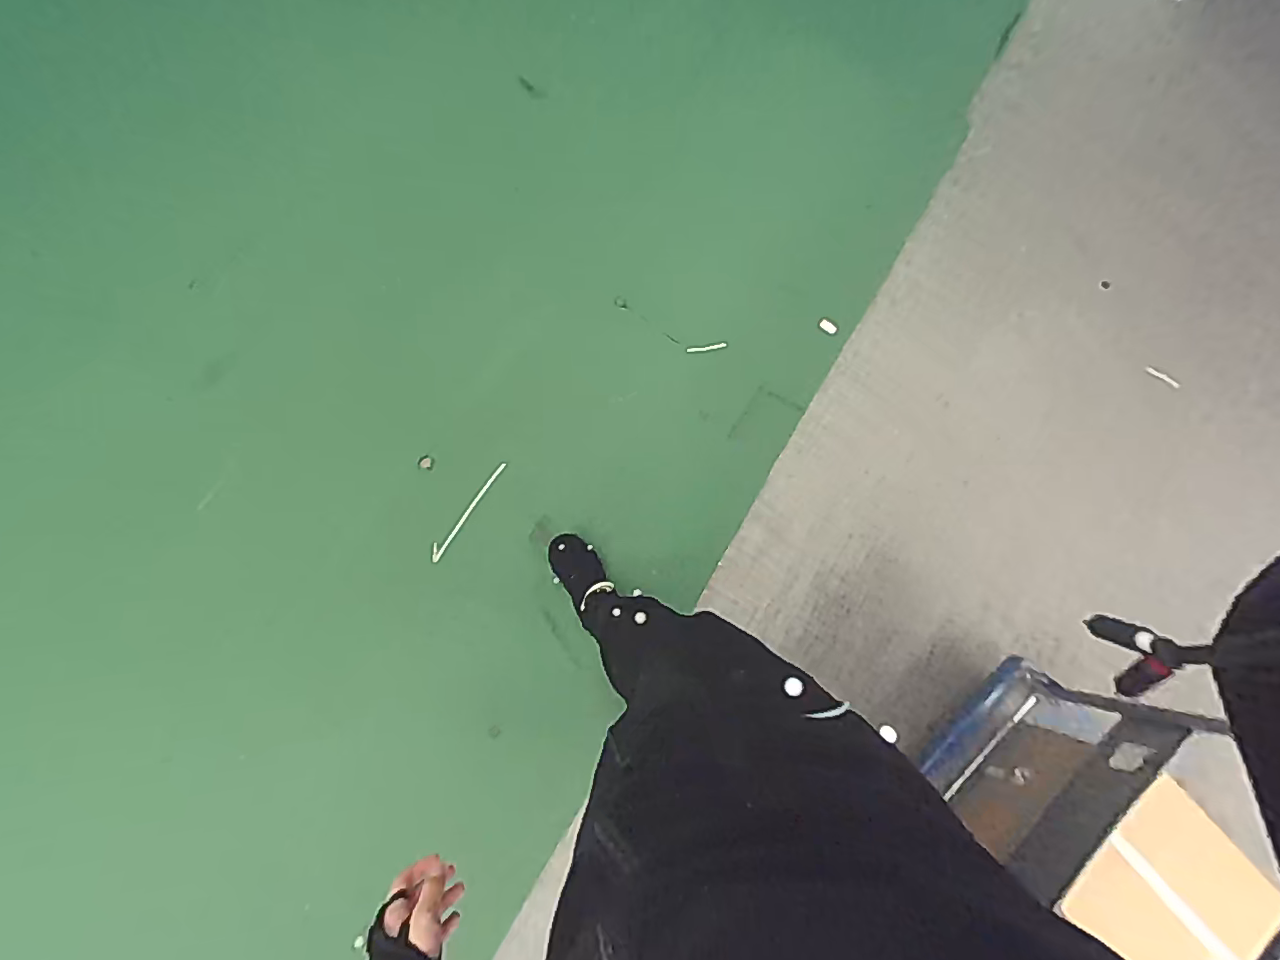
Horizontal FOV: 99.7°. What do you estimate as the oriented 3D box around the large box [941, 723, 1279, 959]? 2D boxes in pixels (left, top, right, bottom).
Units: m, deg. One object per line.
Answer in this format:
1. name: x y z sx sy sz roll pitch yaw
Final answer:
1. large box: 0.919 0.775 1.073 0.320 0.320 0.408 -40 84 -9
